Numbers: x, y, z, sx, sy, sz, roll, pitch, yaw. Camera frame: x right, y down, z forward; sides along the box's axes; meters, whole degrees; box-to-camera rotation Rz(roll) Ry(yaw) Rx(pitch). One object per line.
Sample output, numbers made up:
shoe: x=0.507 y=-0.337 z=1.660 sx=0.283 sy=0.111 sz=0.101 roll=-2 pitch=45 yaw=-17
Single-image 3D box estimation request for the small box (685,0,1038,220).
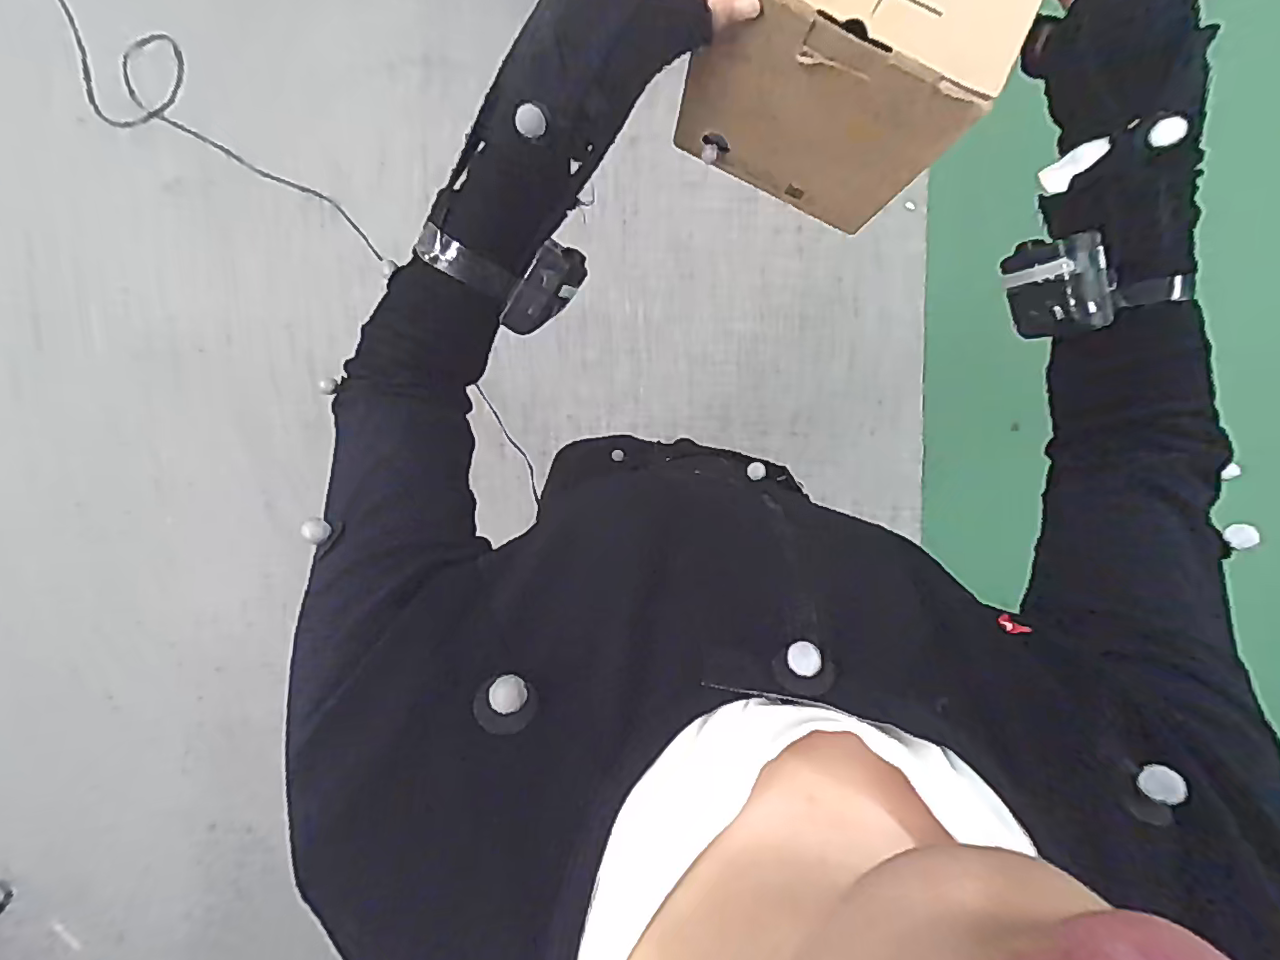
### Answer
small box: x=0.139 y=-0.308 z=0.351 sx=0.168 sy=0.176 sz=0.179 roll=25 pitch=90 yaw=-4
